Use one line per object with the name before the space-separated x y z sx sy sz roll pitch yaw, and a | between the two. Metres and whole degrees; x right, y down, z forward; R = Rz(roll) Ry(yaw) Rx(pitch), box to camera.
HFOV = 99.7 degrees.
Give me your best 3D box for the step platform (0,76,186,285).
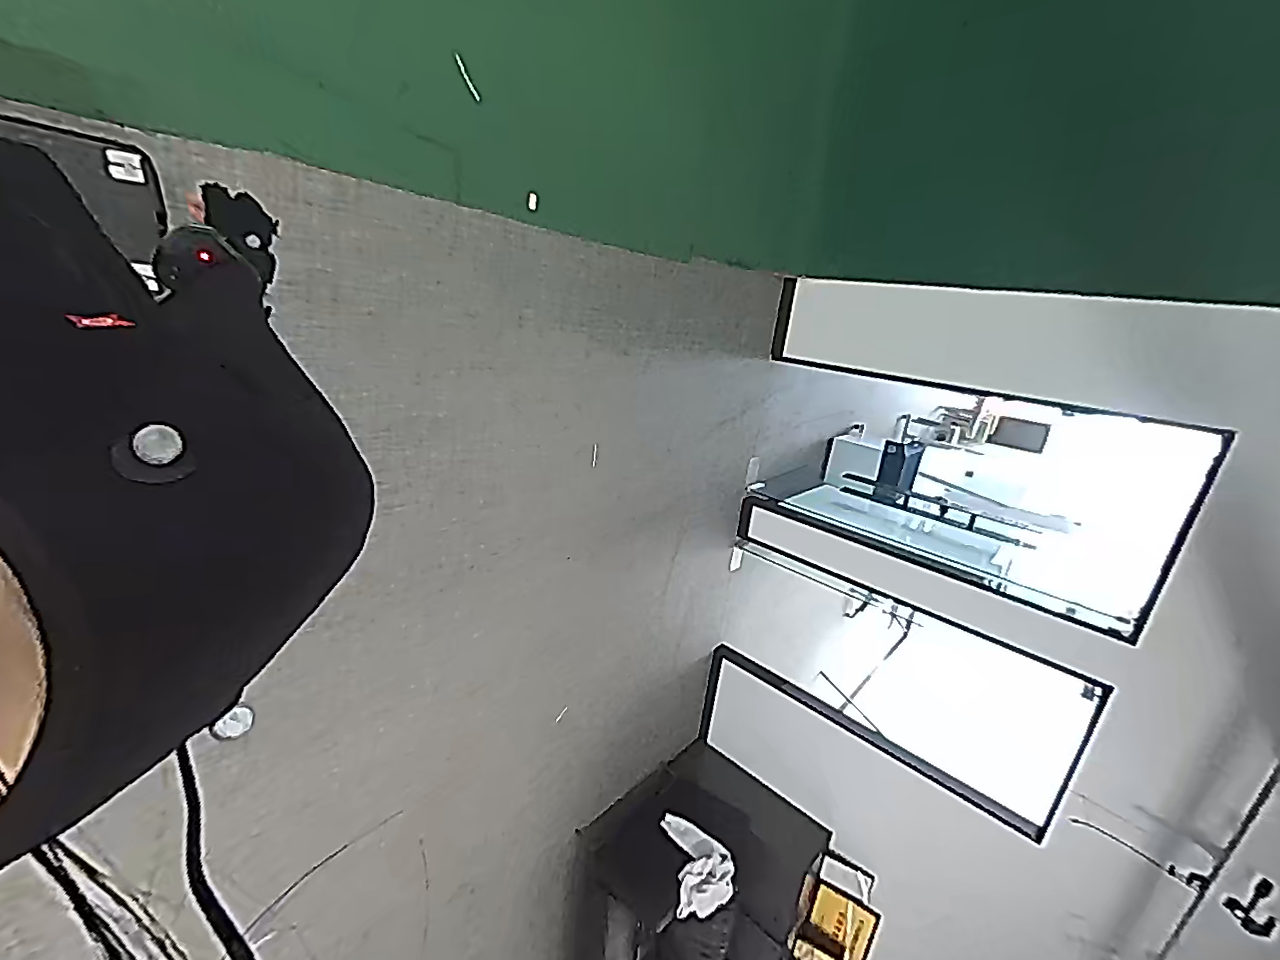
step platform | -1.071 -0.451 0.728 0.684 0.204 0.286 -12 117 -47
